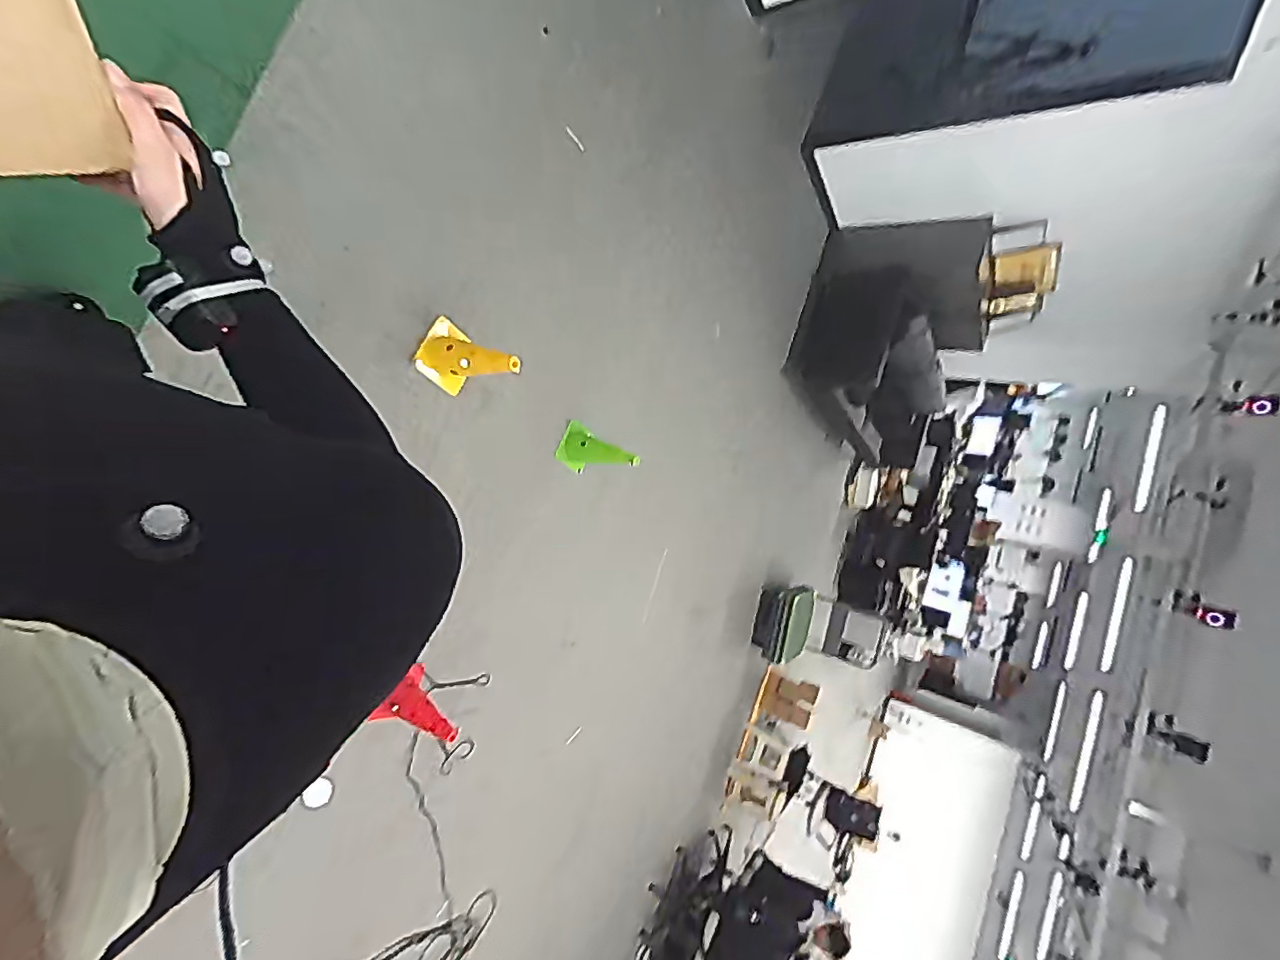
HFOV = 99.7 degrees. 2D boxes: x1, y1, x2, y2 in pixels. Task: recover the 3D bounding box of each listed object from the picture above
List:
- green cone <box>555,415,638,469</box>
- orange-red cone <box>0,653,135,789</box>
[{"bbox_3d":[-0.155,-0.137,2.338,0.202,0.368,0.200,37,71,-51],"label":"green cone"},{"bbox_3d":[-1.191,0.540,1.139,0.198,0.360,0.199,40,71,-51],"label":"orange-red cone"}]
